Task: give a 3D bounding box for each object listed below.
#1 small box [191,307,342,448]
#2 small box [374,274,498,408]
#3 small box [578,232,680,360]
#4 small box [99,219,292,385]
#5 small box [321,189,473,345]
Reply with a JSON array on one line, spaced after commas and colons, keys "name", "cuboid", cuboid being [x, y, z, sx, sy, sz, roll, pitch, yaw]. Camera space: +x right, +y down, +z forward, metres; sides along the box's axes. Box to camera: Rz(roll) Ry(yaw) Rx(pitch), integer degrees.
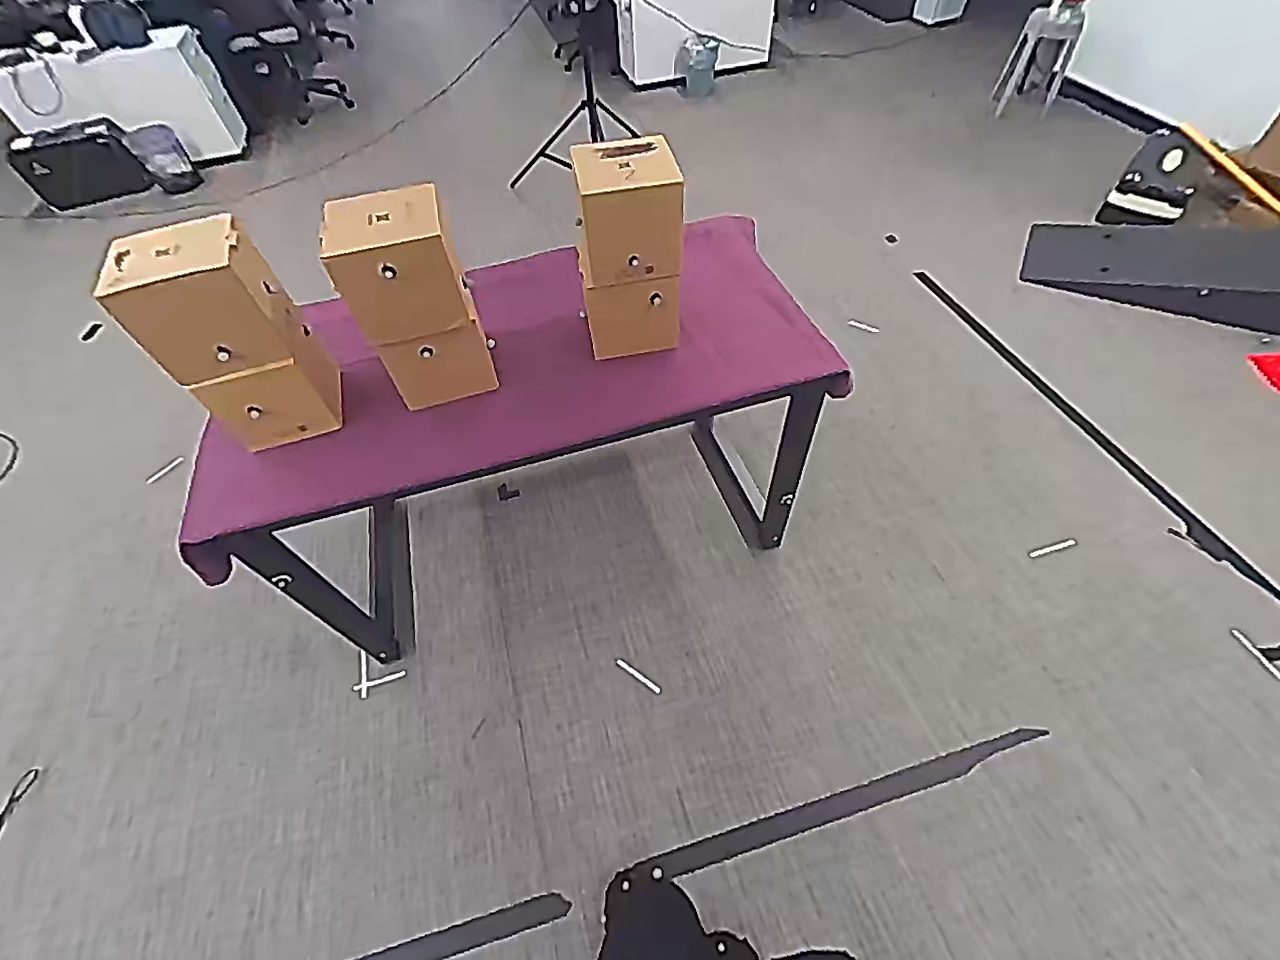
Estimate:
[{"name": "small box", "cuboid": [-0.667, -0.179, 0.988, 0.168, 0.176, 0.179, -18, 54, -10]}, {"name": "small box", "cuboid": [-0.387, -0.261, 1.030, 0.179, 0.176, 0.168, -17, 54, -10]}, {"name": "small box", "cuboid": [-0.021, -0.364, 1.081, 0.179, 0.176, 0.168, -10, 53, -3]}, {"name": "small box", "cuboid": [-0.683, -0.280, 0.860, 0.179, 0.176, 0.168, -19, 54, -11]}, {"name": "small box", "cuboid": [-0.392, -0.346, 0.892, 0.179, 0.176, 0.168, -14, 55, -9]}]
